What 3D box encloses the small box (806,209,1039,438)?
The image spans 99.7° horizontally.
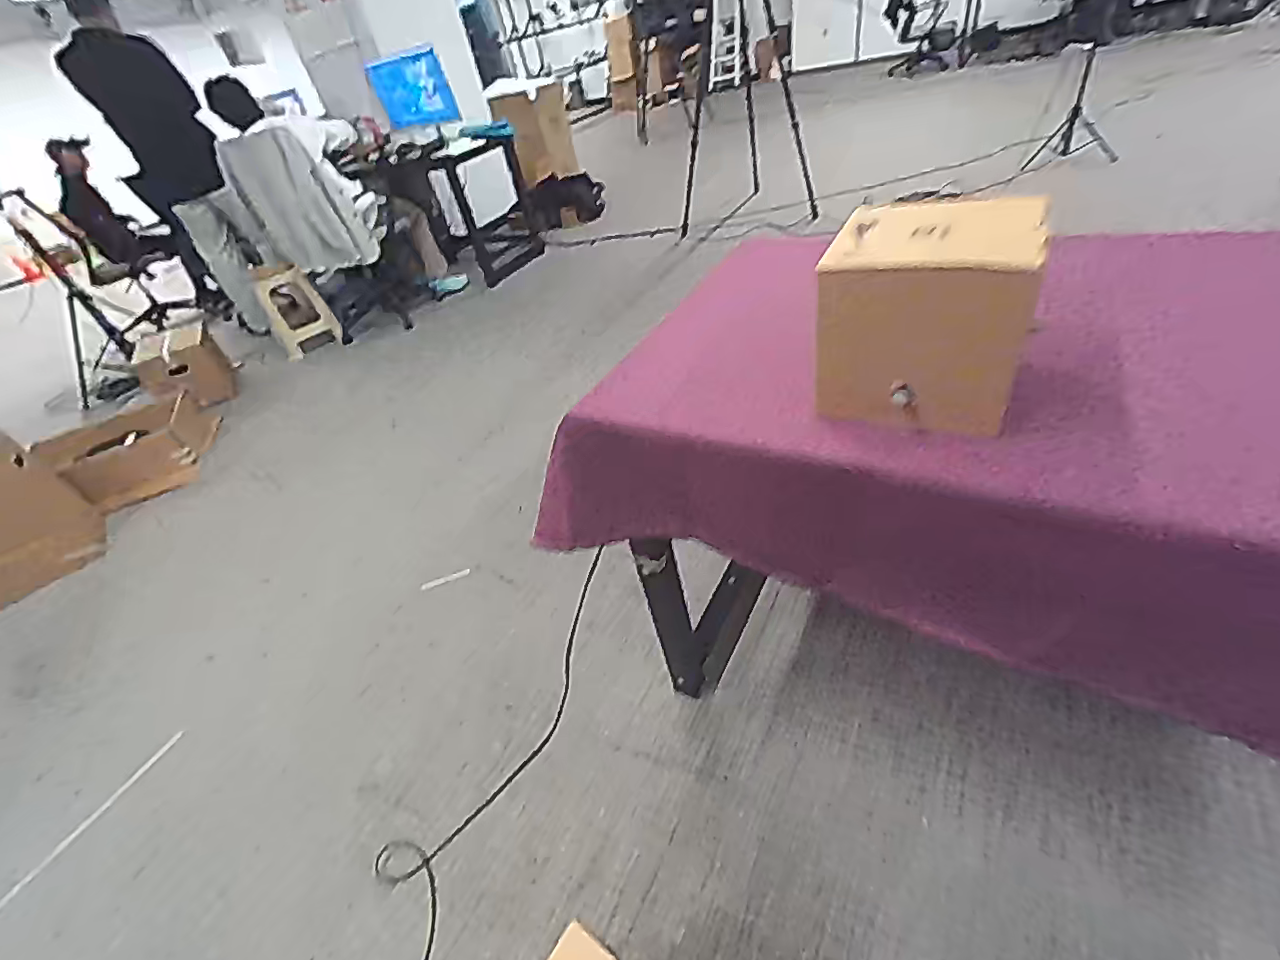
[{"bbox_3d":[0.281,-0.162,0.558,0.179,0.176,0.168,13,46,27],"label":"small box"}]
